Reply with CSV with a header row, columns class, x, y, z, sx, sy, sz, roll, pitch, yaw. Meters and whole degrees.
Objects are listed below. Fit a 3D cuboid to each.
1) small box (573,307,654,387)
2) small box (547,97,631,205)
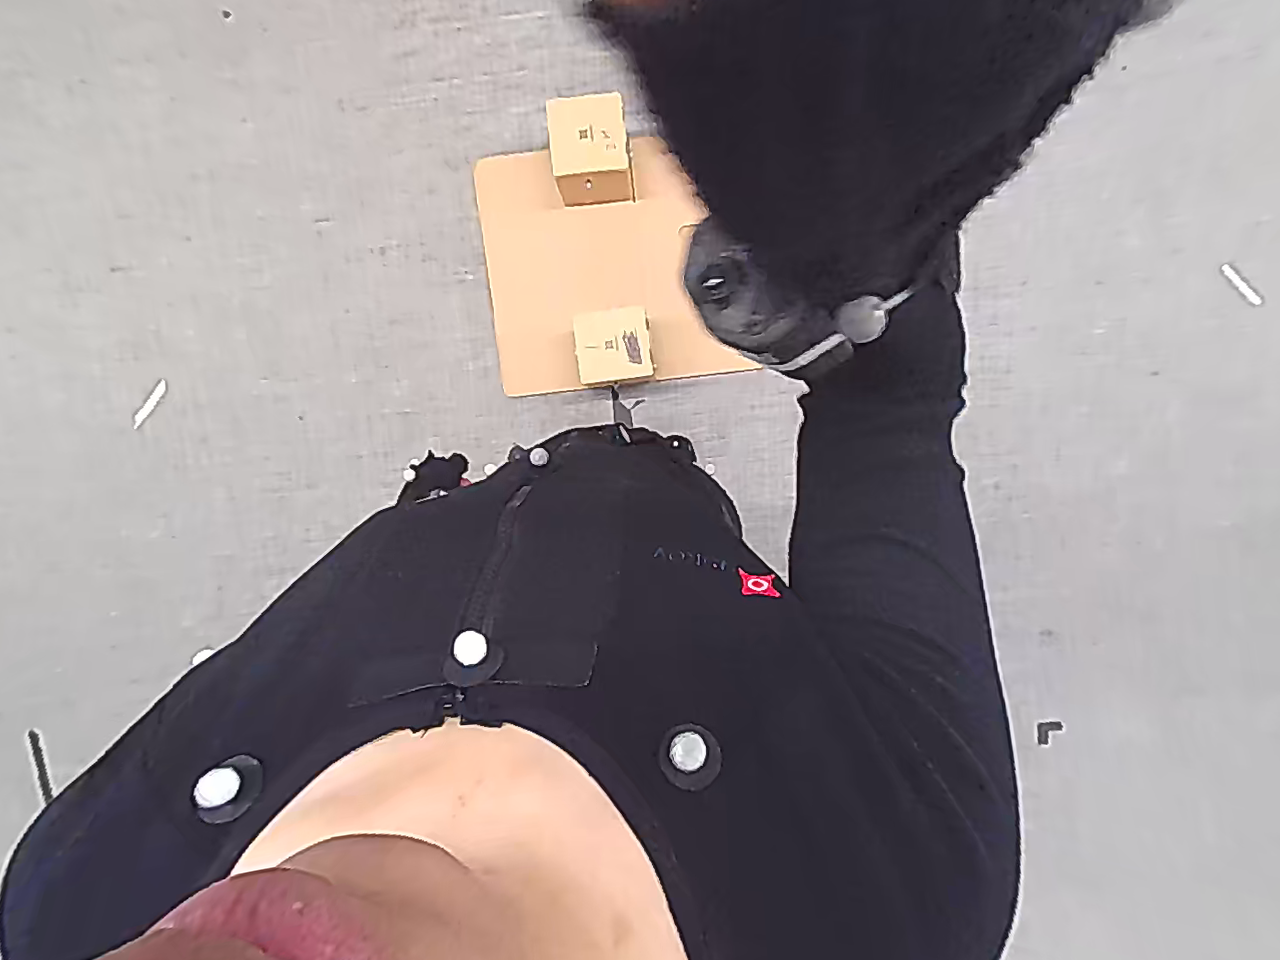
class,x,y,z,sx,sy,sz,roll,pitch,yaw
small box,-0.062,-0.327,1.355,0.179,0.176,0.168,-7,97,2
small box,-0.116,-0.783,1.304,0.179,0.176,0.168,-5,96,1
